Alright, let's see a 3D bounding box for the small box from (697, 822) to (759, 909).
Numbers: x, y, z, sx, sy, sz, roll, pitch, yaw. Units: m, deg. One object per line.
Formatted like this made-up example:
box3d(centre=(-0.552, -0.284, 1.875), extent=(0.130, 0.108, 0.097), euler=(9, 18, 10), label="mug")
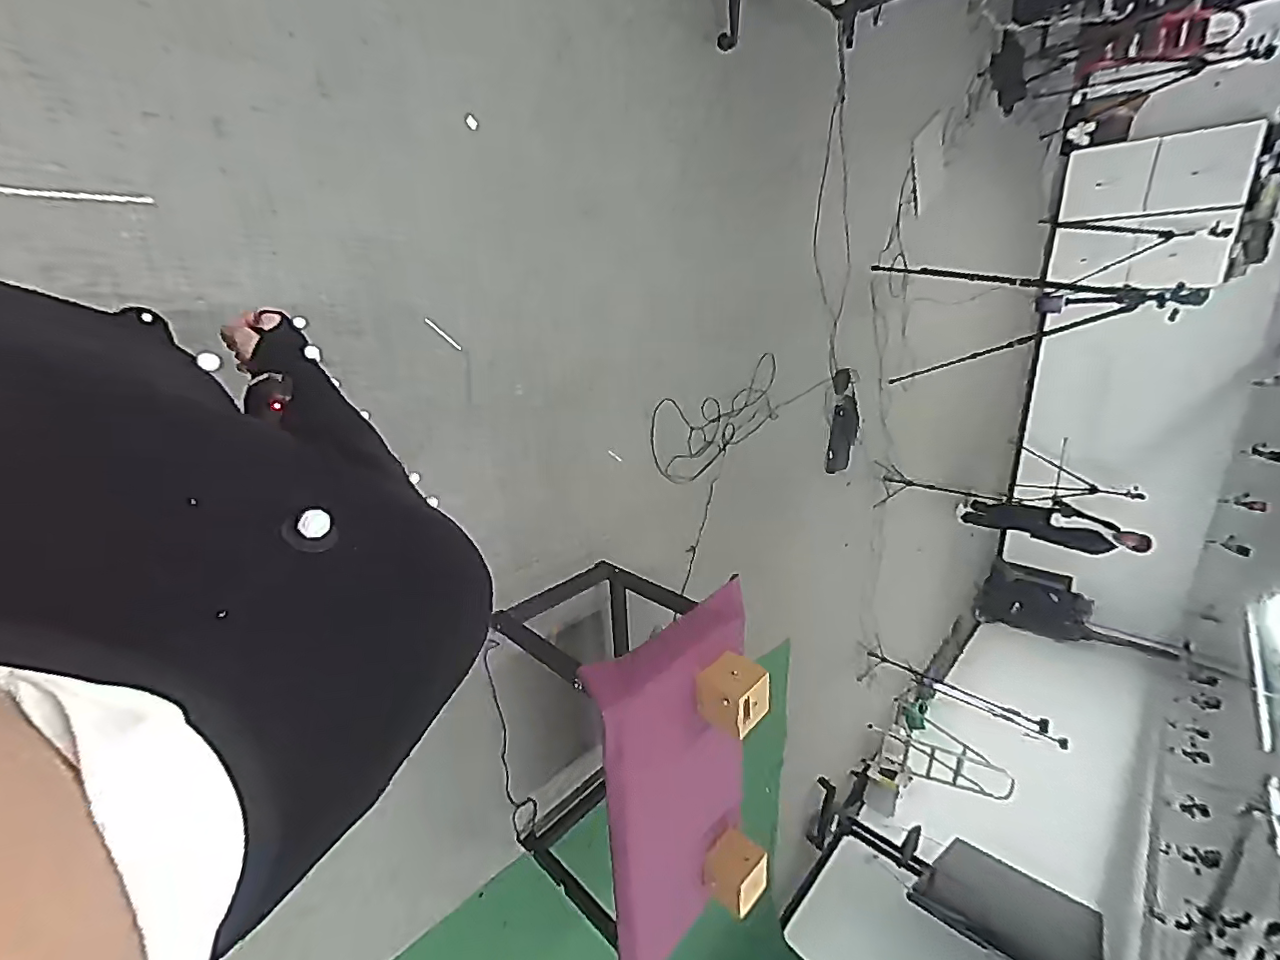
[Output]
box3d(centre=(0.340, 1.477, 2.086), extent=(0.179, 0.176, 0.168), euler=(-18, 111, -43), label="small box")
